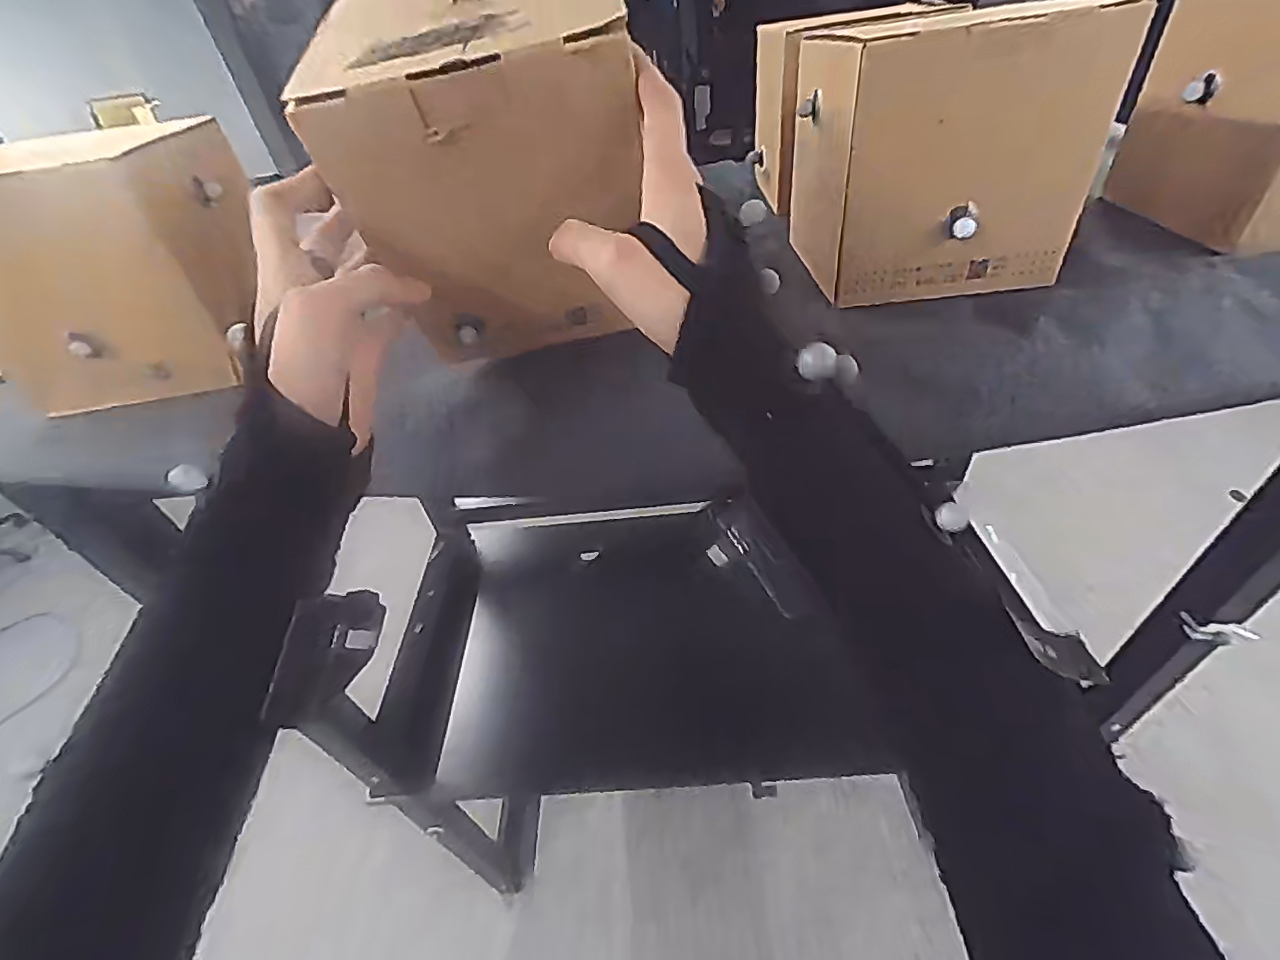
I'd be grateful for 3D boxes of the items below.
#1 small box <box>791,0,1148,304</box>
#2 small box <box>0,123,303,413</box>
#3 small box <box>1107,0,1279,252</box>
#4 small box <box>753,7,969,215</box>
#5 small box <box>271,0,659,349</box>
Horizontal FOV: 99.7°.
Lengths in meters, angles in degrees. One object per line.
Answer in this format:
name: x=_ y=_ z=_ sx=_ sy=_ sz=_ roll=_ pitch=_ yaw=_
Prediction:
small box: x=0.221 y=-0.256 z=0.430 sx=0.168 sy=0.176 sz=0.179 roll=-5 pitch=40 yaw=5
small box: x=-0.420 y=-0.179 z=0.453 sx=0.168 sy=0.176 sz=0.179 roll=-11 pitch=42 yaw=-4
small box: x=0.528 y=-0.293 z=0.421 sx=0.168 sy=0.176 sz=0.179 roll=-4 pitch=40 yaw=7
small box: x=0.230 y=-0.420 z=0.619 sx=0.179 sy=0.176 sz=0.168 roll=-4 pitch=41 yaw=5
small box: x=-0.085 y=-0.203 z=0.350 sx=0.168 sy=0.176 sz=0.179 roll=-10 pitch=56 yaw=3
